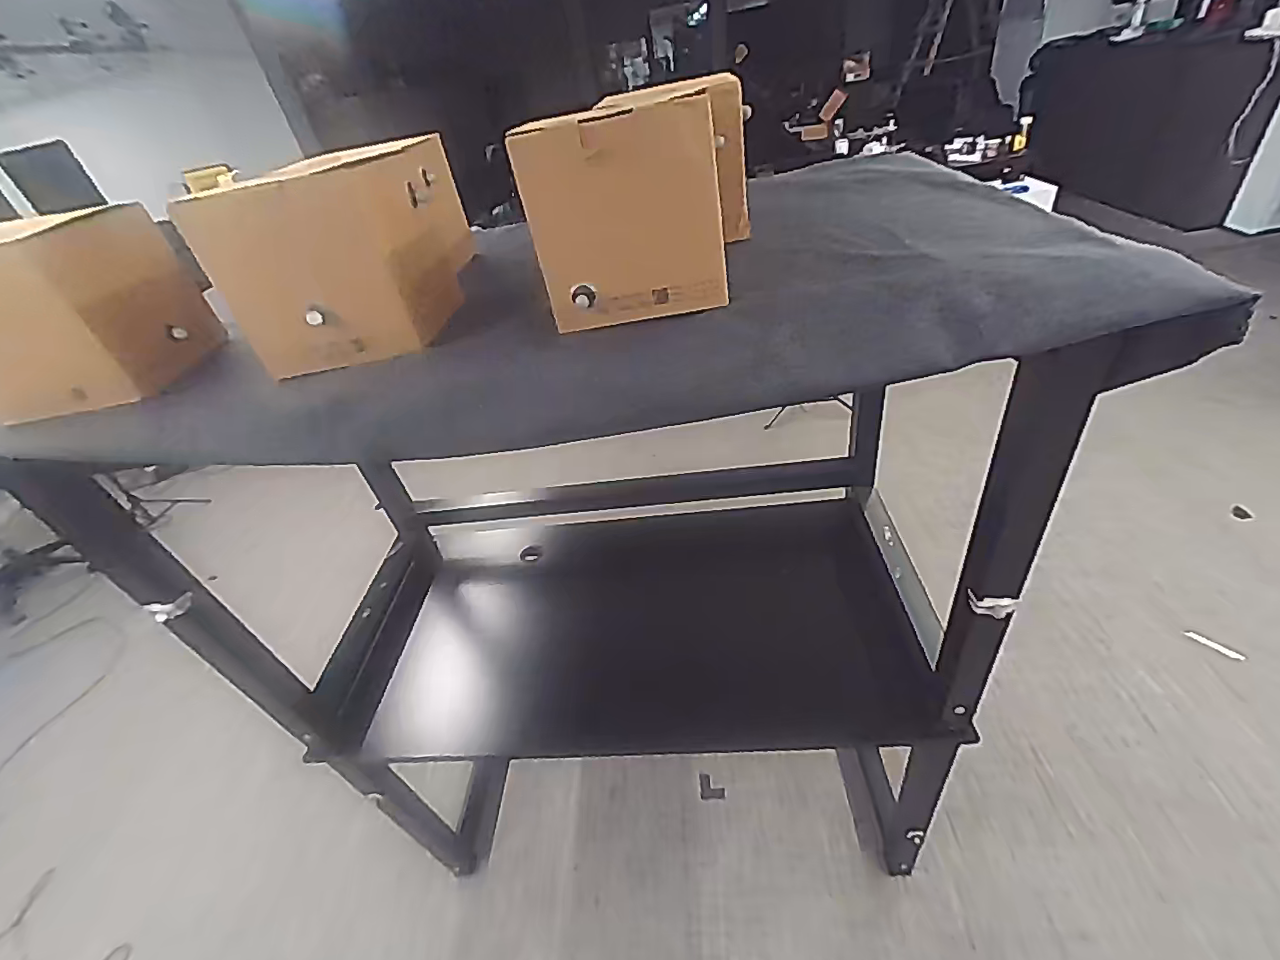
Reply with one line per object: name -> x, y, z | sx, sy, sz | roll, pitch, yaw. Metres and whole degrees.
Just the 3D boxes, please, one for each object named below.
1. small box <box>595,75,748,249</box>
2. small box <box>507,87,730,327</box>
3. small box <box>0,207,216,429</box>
small box -> 0.047, -0.401, 0.696 | 0.168, 0.176, 0.179 | -6, 39, 8
small box -> -0.008, -0.259, 0.525 | 0.168, 0.176, 0.179 | -7, 36, 7
small box -> -0.621, -0.178, 0.591 | 0.168, 0.176, 0.179 | -11, 38, 3
